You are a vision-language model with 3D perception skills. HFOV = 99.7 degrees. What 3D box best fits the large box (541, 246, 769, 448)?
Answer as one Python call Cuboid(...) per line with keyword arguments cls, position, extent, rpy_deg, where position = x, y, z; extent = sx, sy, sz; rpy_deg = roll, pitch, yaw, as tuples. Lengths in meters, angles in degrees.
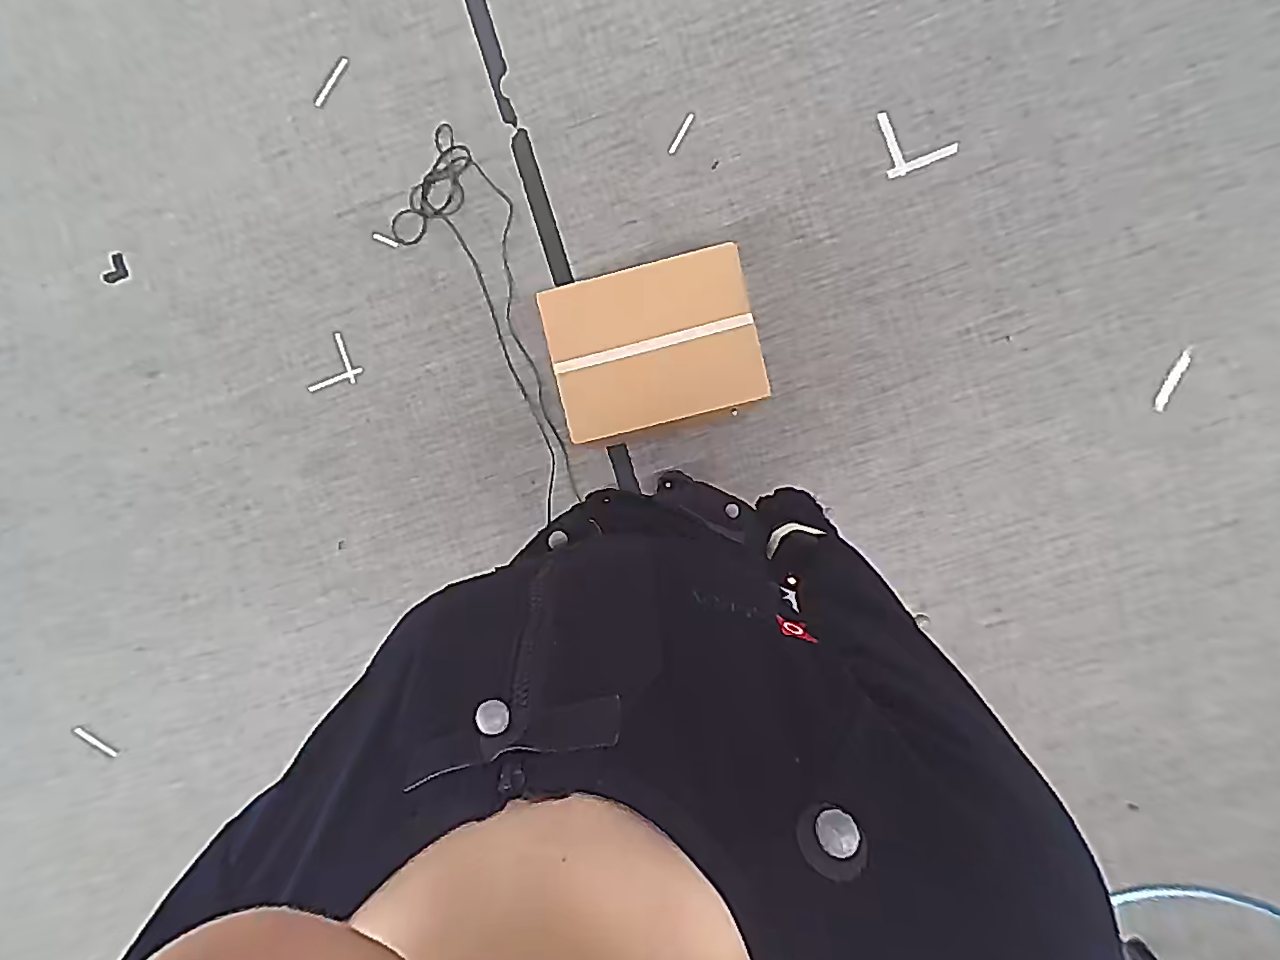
Cuboid(cls="large box", position=(0.036, -0.269, 1.219), extent=(0.408, 0.320, 0.320), rpy_deg=(-14, 90, 4))
